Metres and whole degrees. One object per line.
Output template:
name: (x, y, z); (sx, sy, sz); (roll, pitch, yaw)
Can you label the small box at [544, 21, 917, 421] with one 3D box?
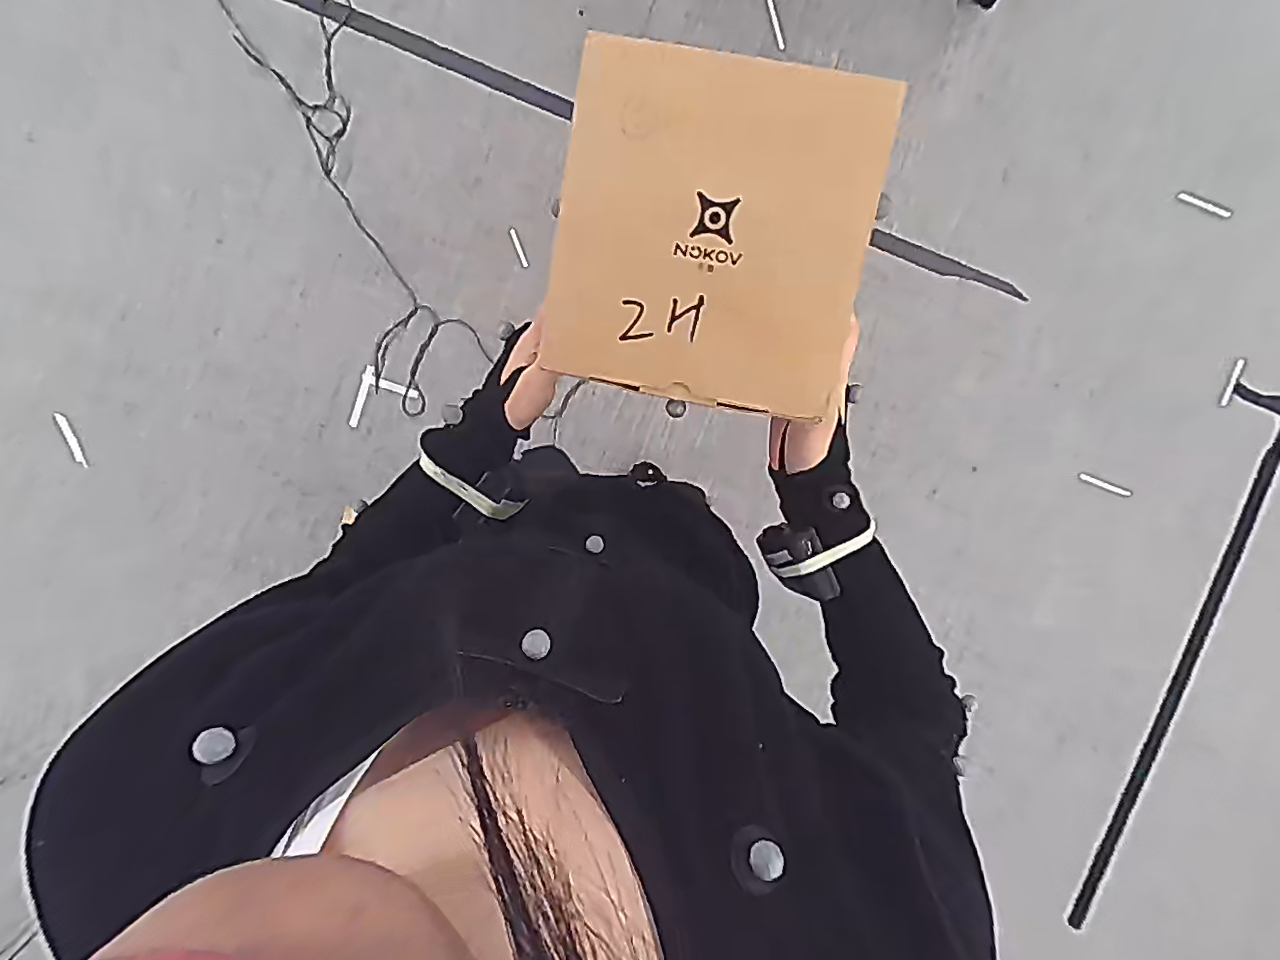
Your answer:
small box: (0.048, -0.144, 0.360); (0.168, 0.176, 0.179); (11, 100, 3)
